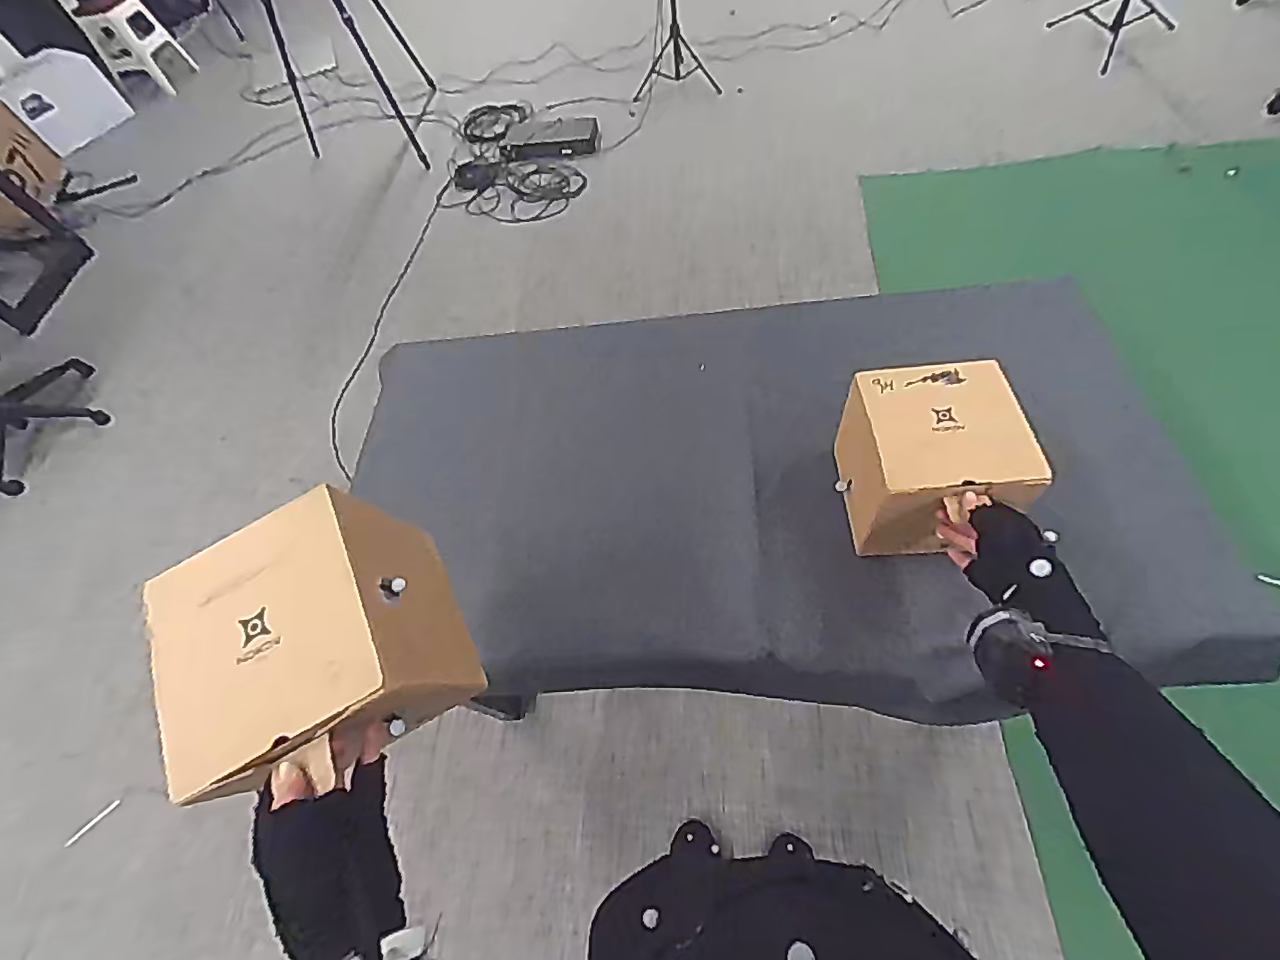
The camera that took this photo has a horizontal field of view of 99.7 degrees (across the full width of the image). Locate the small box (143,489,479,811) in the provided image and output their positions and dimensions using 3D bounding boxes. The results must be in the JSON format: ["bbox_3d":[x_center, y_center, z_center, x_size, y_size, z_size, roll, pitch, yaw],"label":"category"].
[{"bbox_3d":[-0.265,0.141,0.465,0.168,0.176,0.179,-29,66,-2],"label":"small box"}]

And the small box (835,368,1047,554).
[{"bbox_3d":[0.355,-0.014,0.679,0.168,0.176,0.179,-3,58,6],"label":"small box"}]
